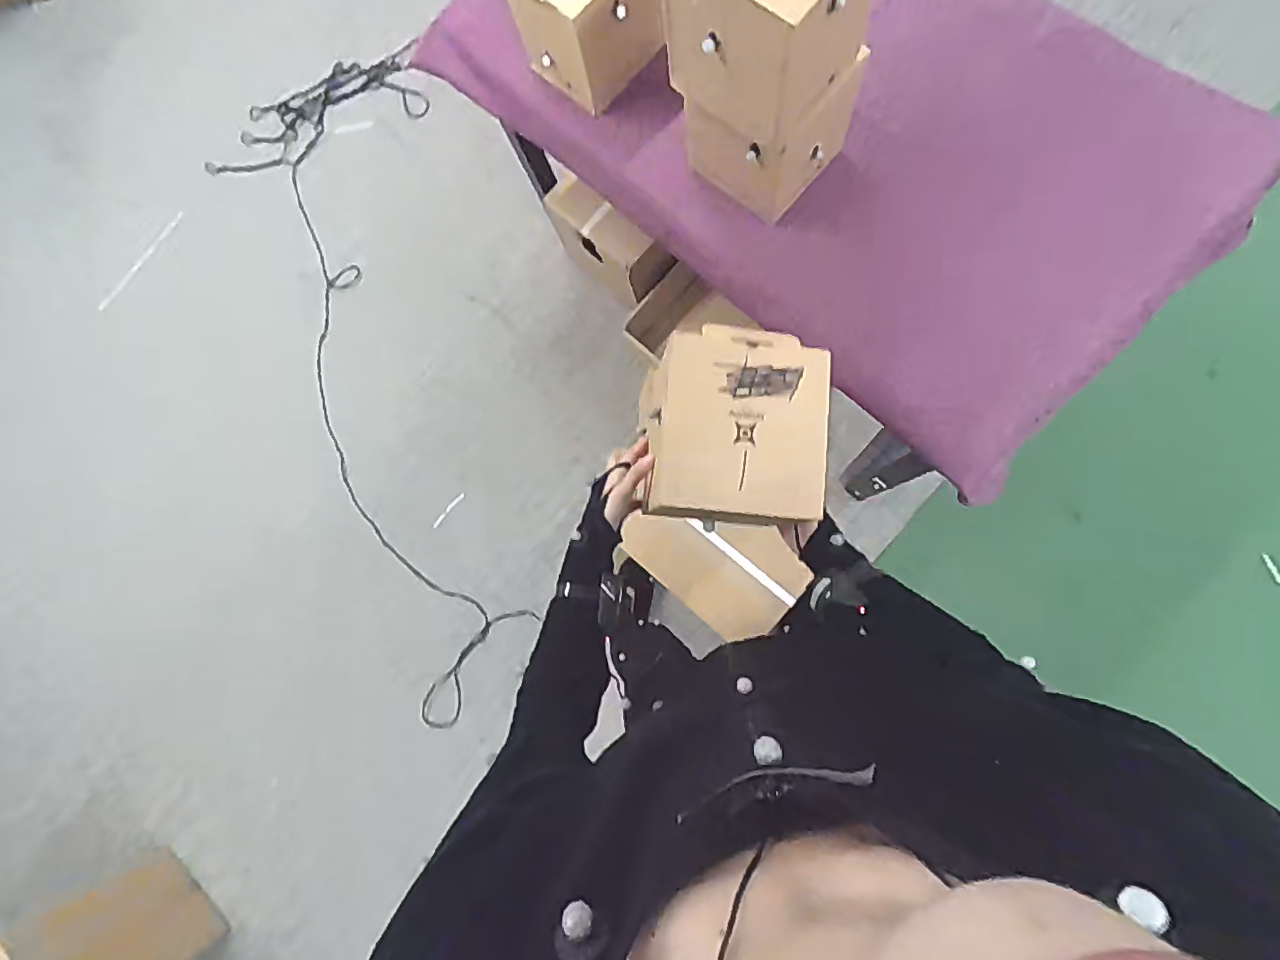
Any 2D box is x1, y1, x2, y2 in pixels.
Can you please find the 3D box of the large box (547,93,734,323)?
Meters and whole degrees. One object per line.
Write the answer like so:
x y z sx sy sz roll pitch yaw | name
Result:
0.020 -0.730 1.503 0.320 0.320 0.408 42 91 12 | large box

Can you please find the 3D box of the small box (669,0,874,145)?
0.143 -0.527 0.607 0.179 0.176 0.168 40 89 13 | small box

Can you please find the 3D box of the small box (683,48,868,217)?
0.182 -0.513 0.767 0.179 0.176 0.168 41 88 12 | small box

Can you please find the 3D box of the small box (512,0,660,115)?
-0.083 -0.732 0.842 0.168 0.176 0.179 43 89 12 | small box

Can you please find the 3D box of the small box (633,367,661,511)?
0.079 -0.045 0.774 0.168 0.176 0.179 3 82 -4 | small box

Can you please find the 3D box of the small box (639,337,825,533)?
0.092 -0.037 0.607 0.168 0.176 0.179 6 82 -3 | small box
